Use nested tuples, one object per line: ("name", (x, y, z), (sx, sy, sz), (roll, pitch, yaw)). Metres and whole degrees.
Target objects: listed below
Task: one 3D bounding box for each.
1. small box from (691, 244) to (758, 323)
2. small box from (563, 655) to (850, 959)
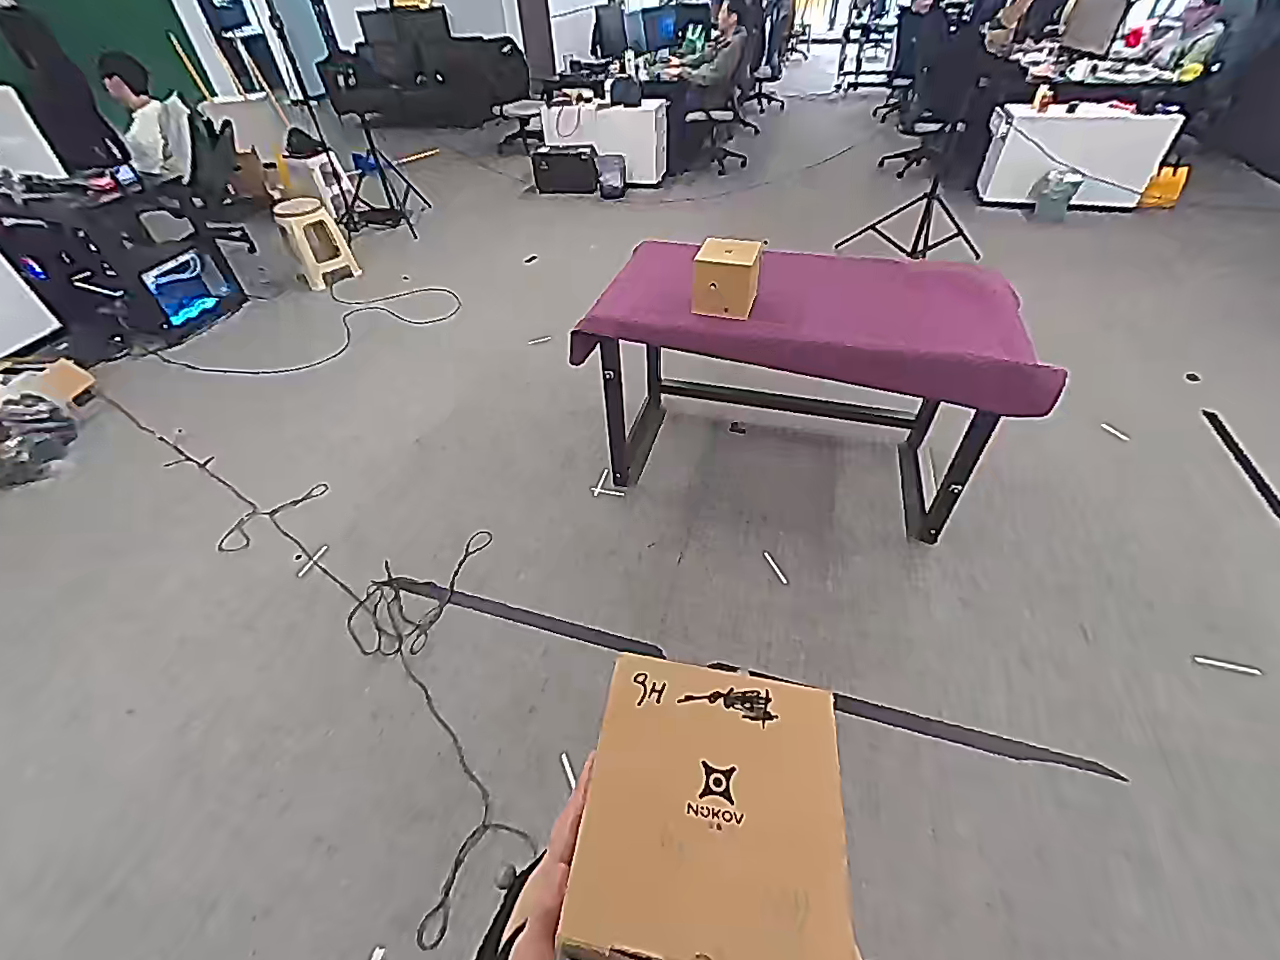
("small box", (0.251, -0.584, 1.611), (0.168, 0.176, 0.179), (11, 44, 14))
("small box", (0.048, 0.265, 0.413), (0.168, 0.176, 0.179), (9, 46, 5))
